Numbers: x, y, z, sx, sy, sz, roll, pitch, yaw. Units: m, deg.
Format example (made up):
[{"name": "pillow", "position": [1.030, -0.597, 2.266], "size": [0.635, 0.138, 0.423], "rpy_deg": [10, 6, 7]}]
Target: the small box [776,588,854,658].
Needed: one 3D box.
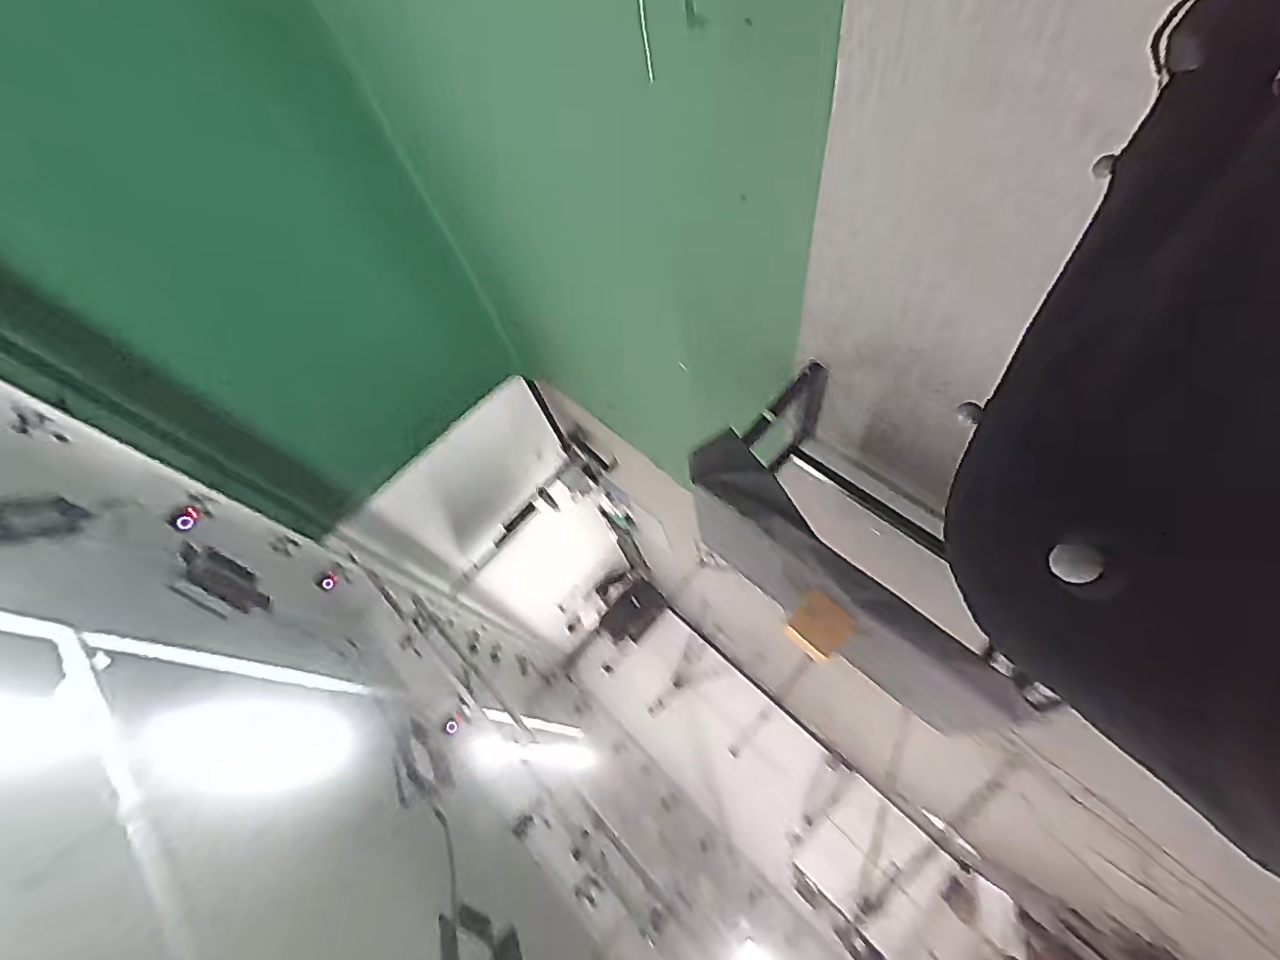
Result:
[{"name": "small box", "position": [0.610, 0.496, 1.894], "size": [0.179, 0.176, 0.168], "rpy_deg": [40, 167, 18]}]
